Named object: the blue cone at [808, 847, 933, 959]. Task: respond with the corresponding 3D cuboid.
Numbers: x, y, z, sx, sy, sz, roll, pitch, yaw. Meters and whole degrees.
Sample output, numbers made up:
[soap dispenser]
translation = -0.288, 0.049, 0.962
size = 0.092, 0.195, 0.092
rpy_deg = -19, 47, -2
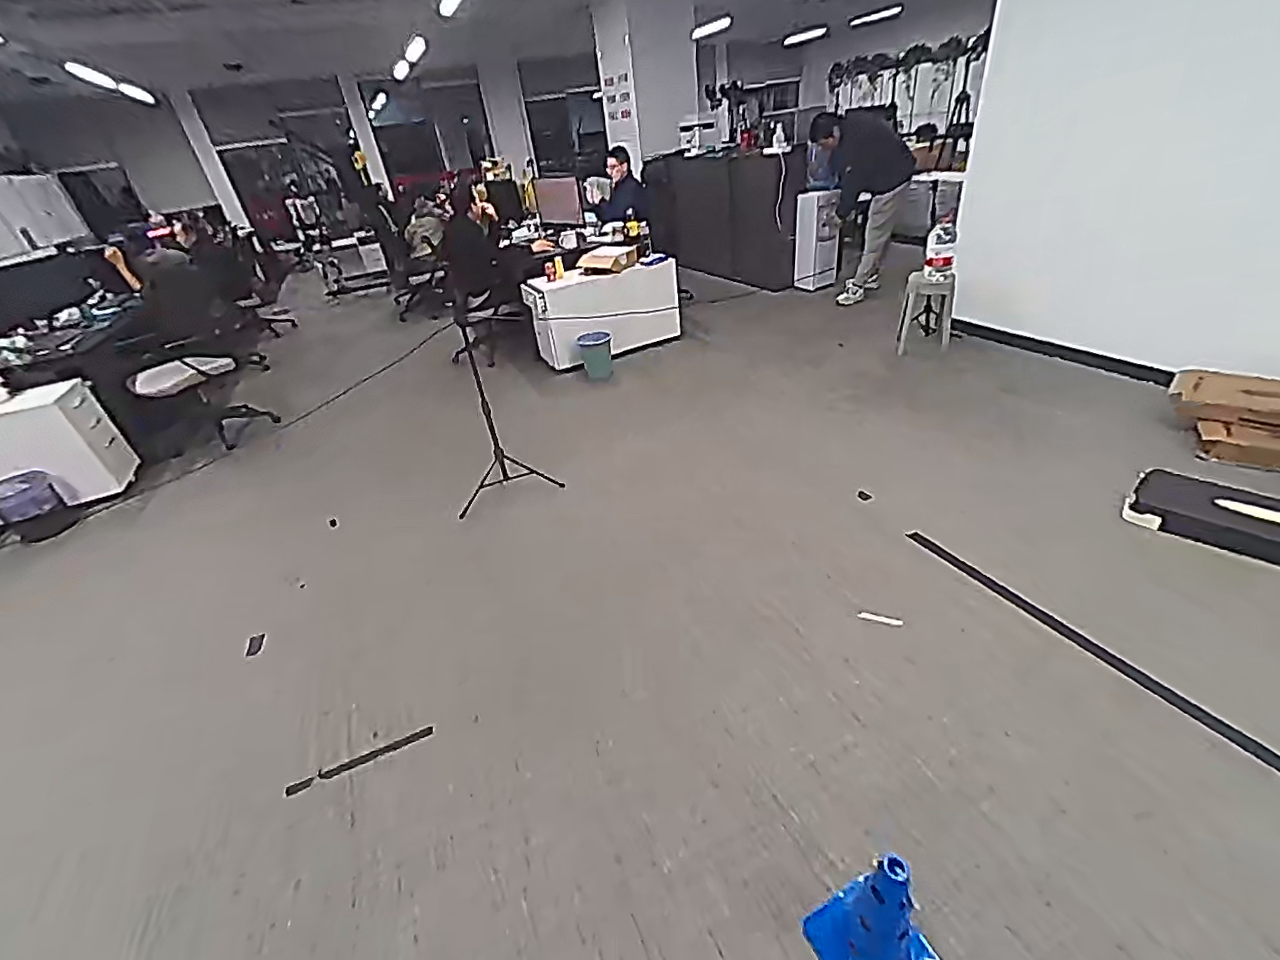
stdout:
[blue cone]
translation = 0.433, 0.783, 0.977
size = 0.193, 0.380, 0.192
rpy_deg = -19, 33, -17
